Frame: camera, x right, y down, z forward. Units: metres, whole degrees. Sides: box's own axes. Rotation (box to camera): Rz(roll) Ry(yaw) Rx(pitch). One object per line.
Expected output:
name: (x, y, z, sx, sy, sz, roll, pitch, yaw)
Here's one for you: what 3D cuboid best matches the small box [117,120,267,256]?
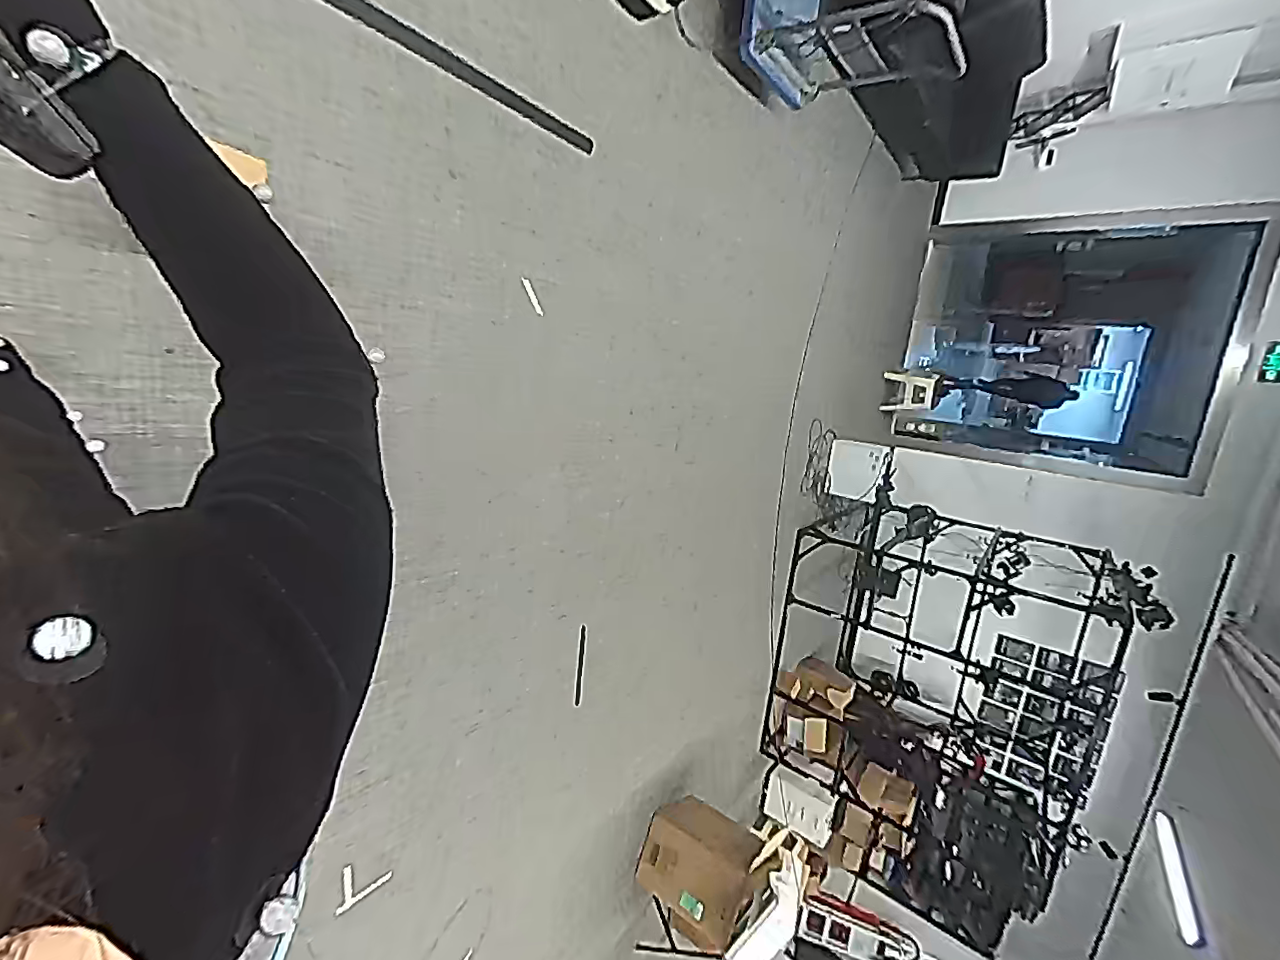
small box: (-0.820, -0.520, 0.992, 0.179, 0.176, 0.168, -3, 104, -53)
